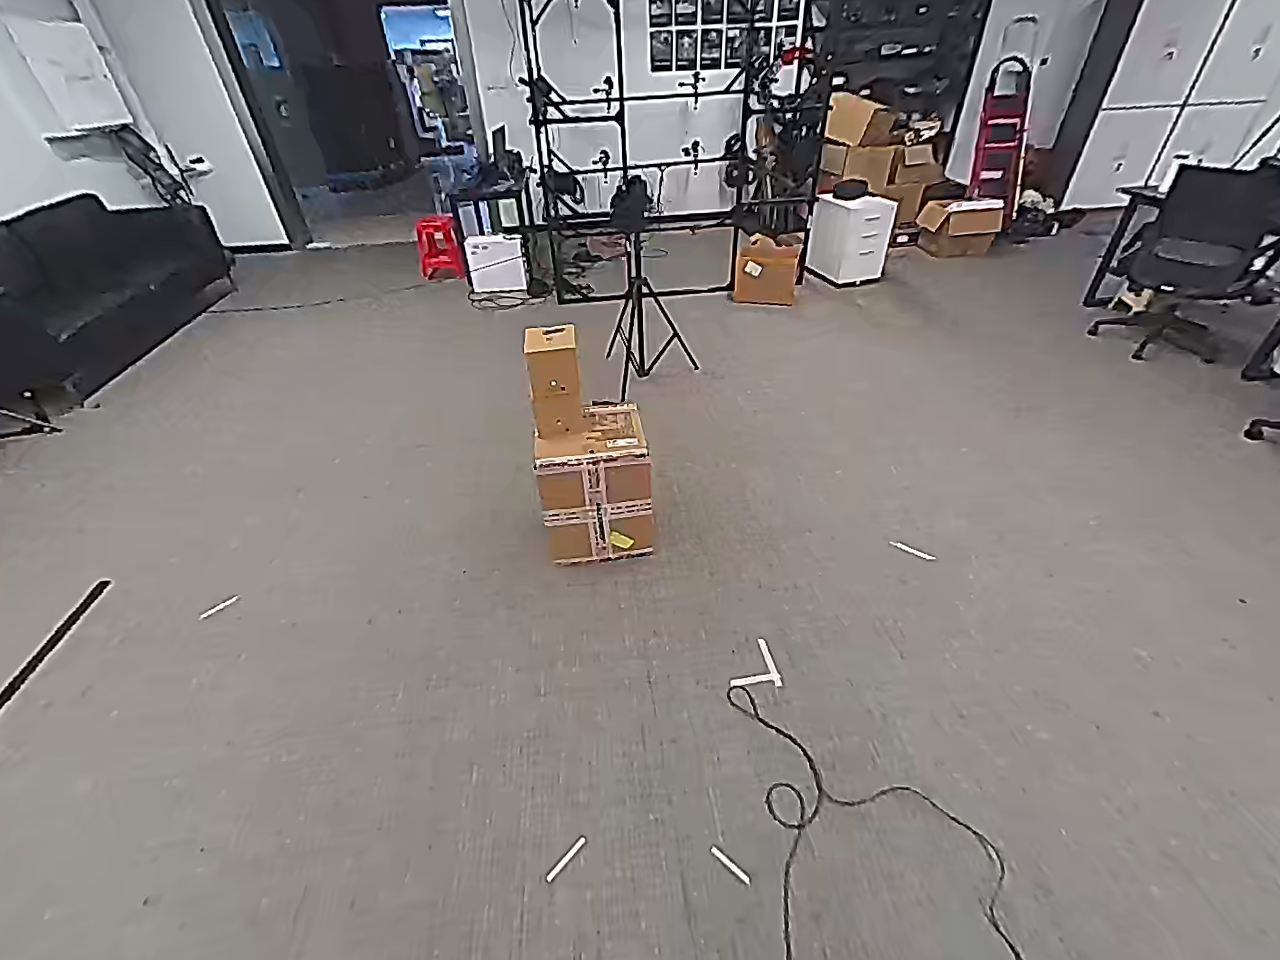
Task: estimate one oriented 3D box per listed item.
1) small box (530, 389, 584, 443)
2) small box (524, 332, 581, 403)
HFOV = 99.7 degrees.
[{"bbox_3d":[-0.298,-0.254,1.934,0.168,0.176,0.179,-10,40,-6],"label":"small box"},{"bbox_3d":[-0.292,-0.381,1.828,0.168,0.176,0.179,-8,40,-3],"label":"small box"}]
